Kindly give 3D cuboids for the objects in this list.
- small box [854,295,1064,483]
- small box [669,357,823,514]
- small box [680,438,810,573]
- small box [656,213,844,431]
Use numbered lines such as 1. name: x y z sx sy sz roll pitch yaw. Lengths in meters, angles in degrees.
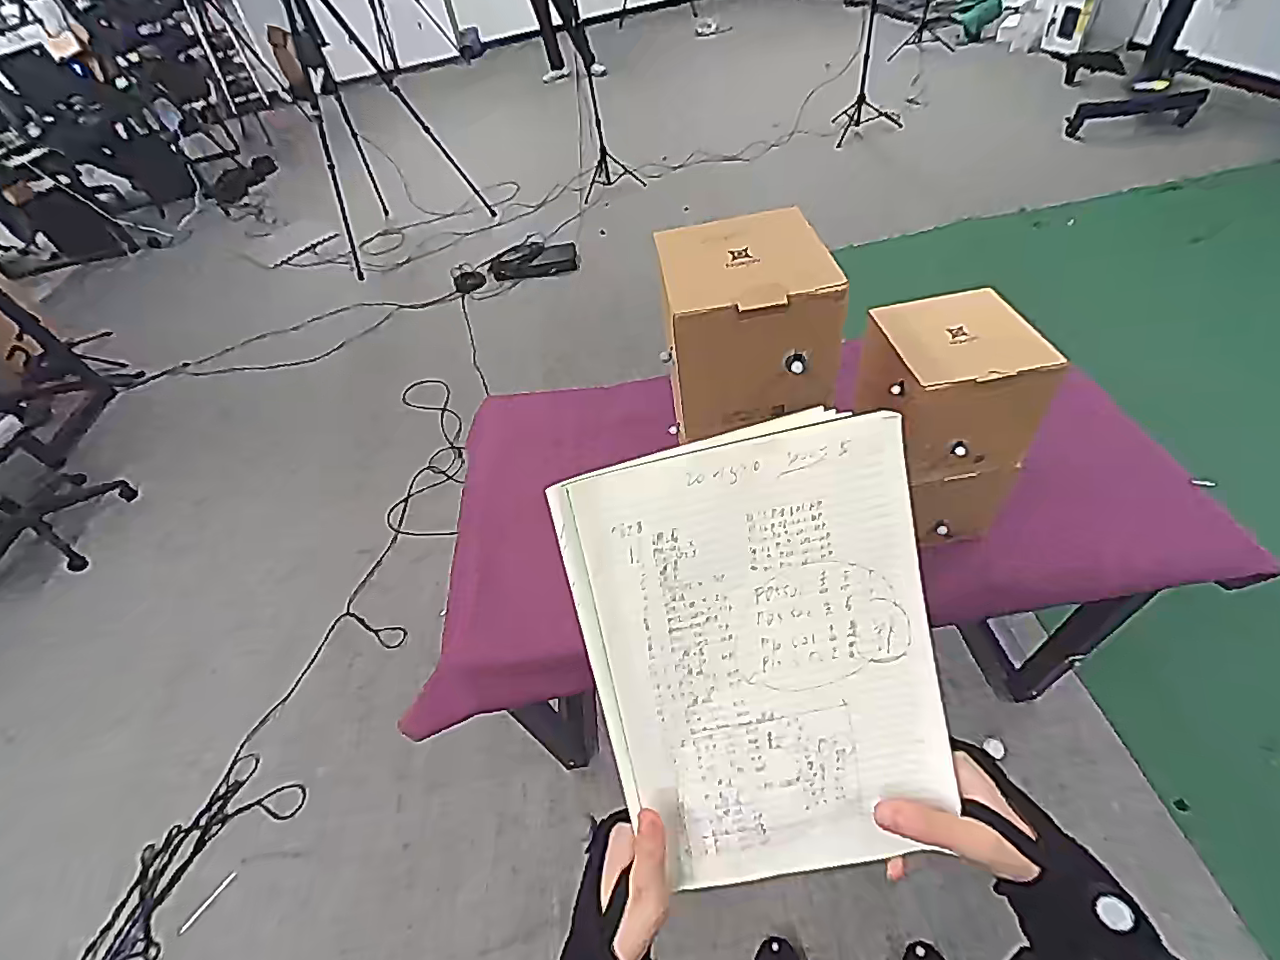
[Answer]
1. small box: 0.406 -0.122 0.733 0.168 0.176 0.179 -9 48 3
2. small box: 0.139 -0.068 0.739 0.168 0.176 0.179 -10 47 3
3. small box: 0.163 0.034 0.866 0.168 0.176 0.179 -9 49 3
4. small box: 0.115 -0.170 0.614 0.168 0.176 0.179 -9 48 3
